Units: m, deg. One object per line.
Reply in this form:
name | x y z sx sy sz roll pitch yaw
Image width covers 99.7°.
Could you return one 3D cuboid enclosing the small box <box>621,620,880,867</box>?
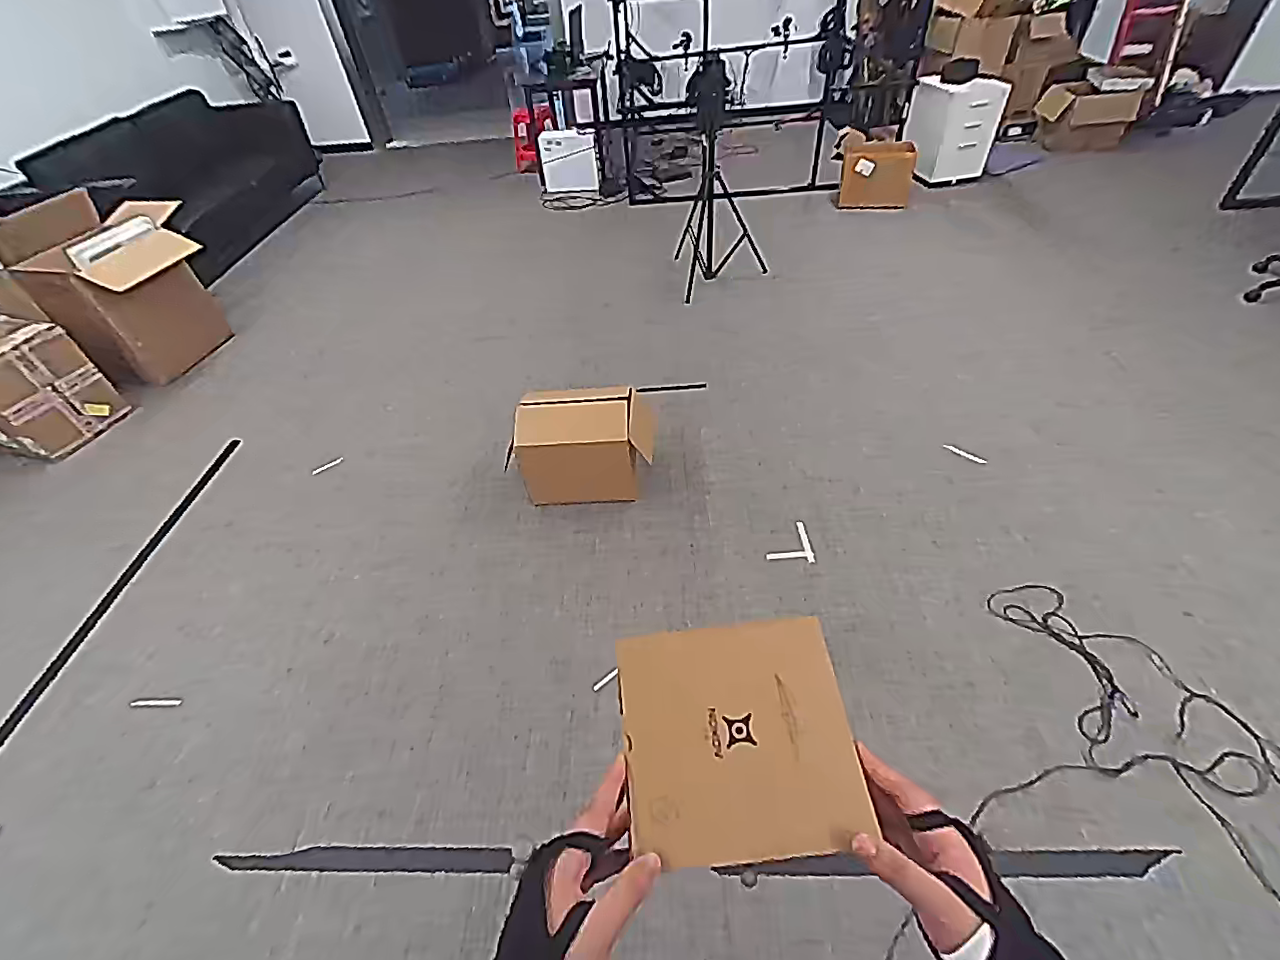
small box | 0.083 0.243 0.490 0.179 0.176 0.168 -7 56 0
